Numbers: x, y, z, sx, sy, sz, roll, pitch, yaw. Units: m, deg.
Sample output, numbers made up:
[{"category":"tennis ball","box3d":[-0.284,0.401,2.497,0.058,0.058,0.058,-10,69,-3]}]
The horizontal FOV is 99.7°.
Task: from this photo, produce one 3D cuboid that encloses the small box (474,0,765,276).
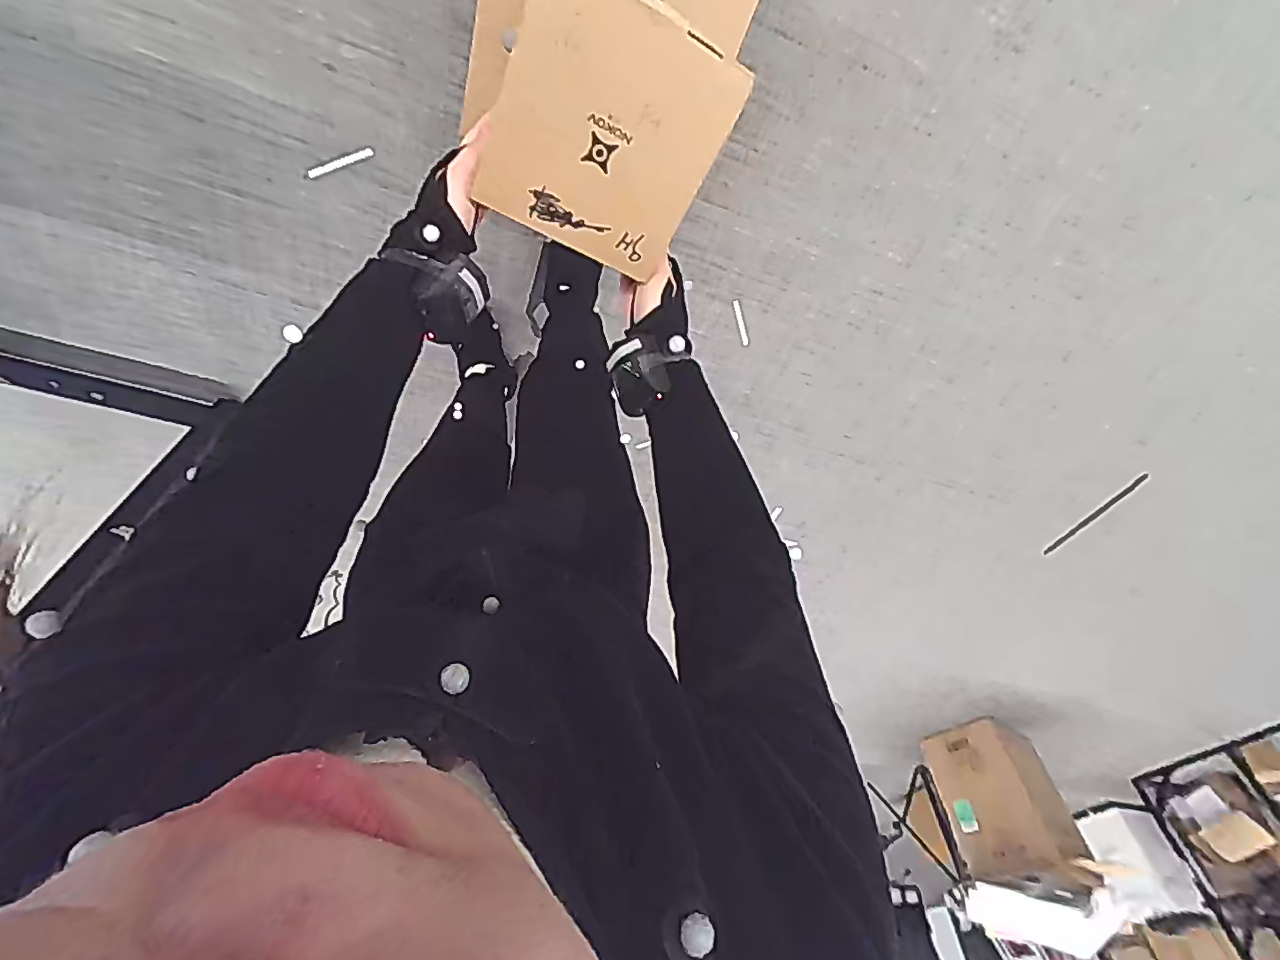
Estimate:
[{"category":"small box","box3d":[-0.026,-0.318,0.462,0.168,0.176,0.179,19,130,-22]}]
